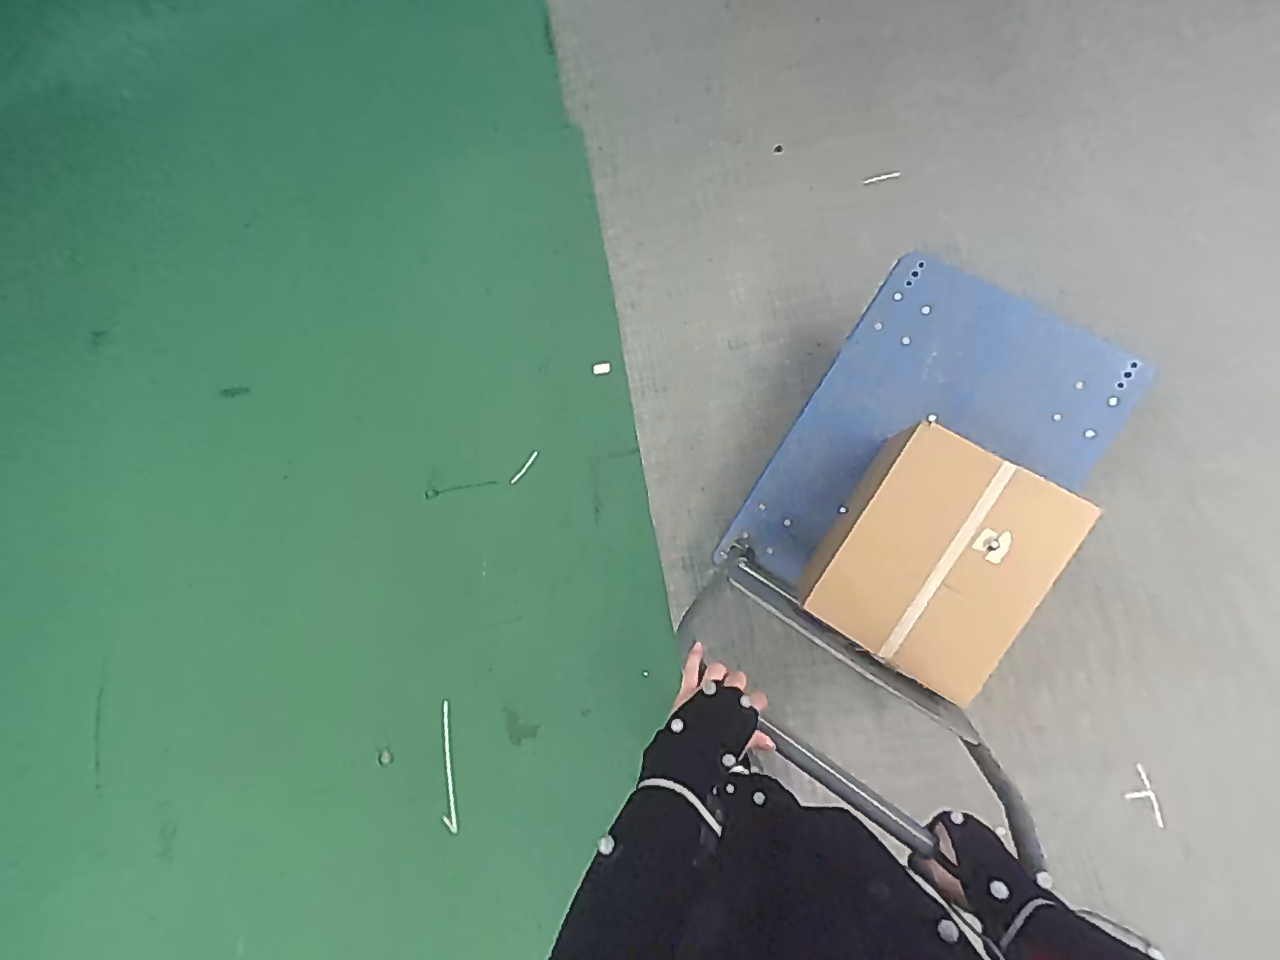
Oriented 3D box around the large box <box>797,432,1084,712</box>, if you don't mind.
[{"bbox_3d":[0.559,0.169,1.102,0.320,0.320,0.408,33,94,13],"label":"large box"}]
